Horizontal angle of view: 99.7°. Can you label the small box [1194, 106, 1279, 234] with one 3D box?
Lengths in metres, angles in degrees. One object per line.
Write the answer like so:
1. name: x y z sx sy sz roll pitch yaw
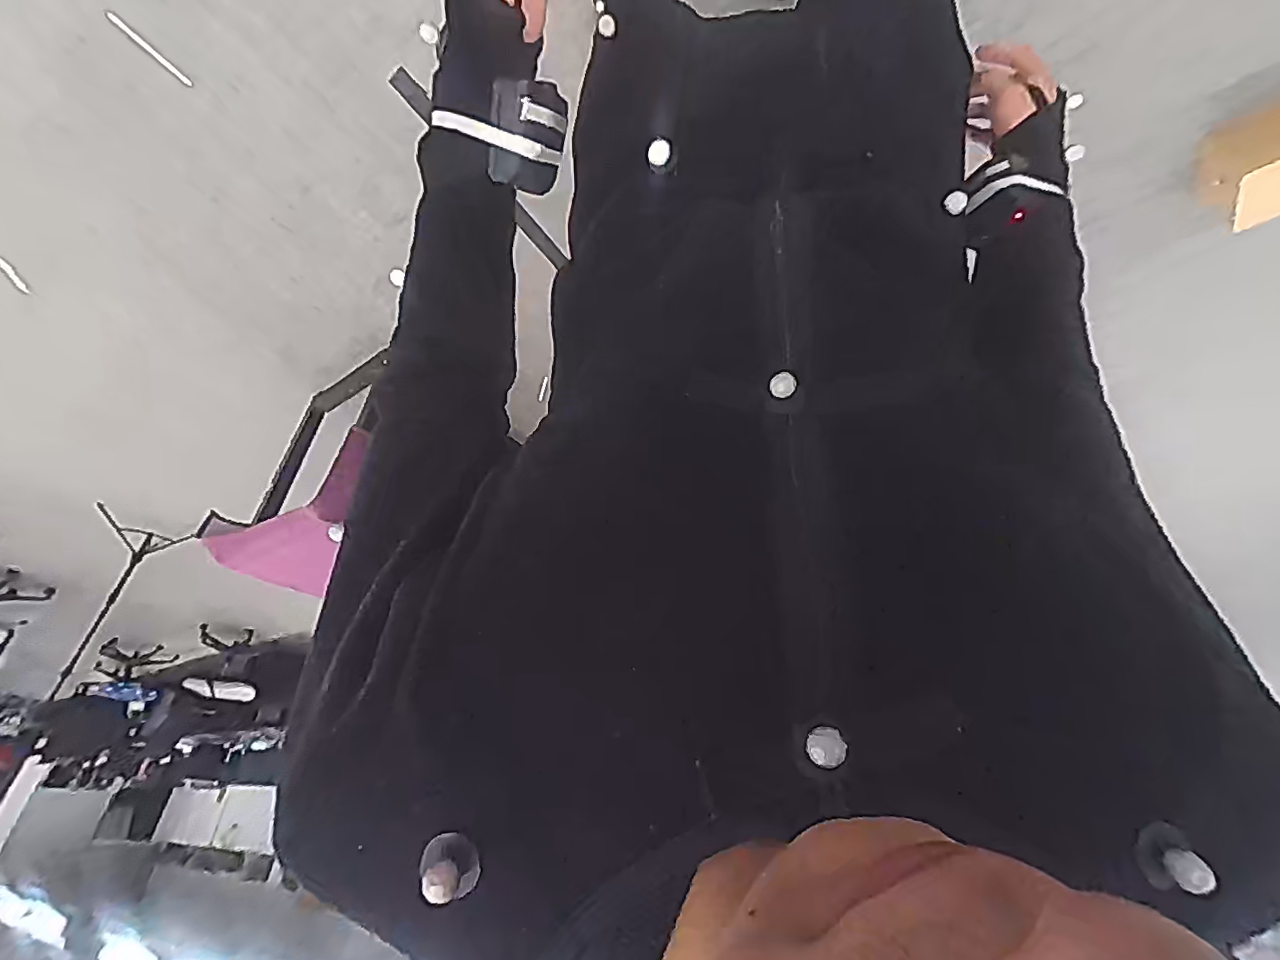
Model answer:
1. small box: 1.418 -0.709 1.229 0.179 0.176 0.168 -22 139 30
